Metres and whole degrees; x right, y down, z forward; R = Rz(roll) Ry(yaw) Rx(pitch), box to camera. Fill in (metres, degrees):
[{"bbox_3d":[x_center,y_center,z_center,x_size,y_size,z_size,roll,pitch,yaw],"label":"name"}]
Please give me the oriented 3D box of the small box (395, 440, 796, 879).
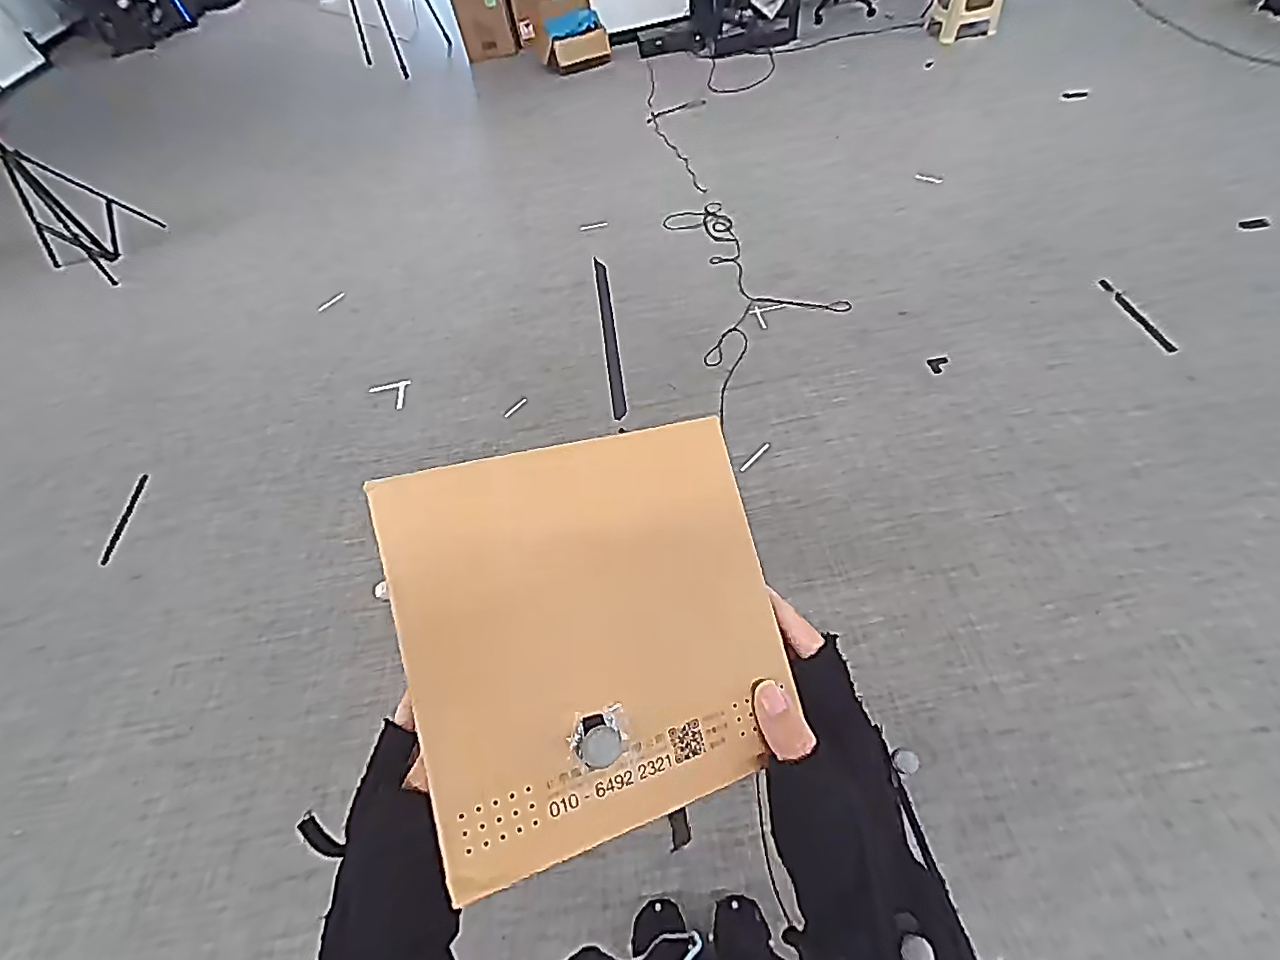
[{"bbox_3d":[-0.037,0.090,0.329,0.168,0.179,0.176,-13,83,-20],"label":"small box"}]
